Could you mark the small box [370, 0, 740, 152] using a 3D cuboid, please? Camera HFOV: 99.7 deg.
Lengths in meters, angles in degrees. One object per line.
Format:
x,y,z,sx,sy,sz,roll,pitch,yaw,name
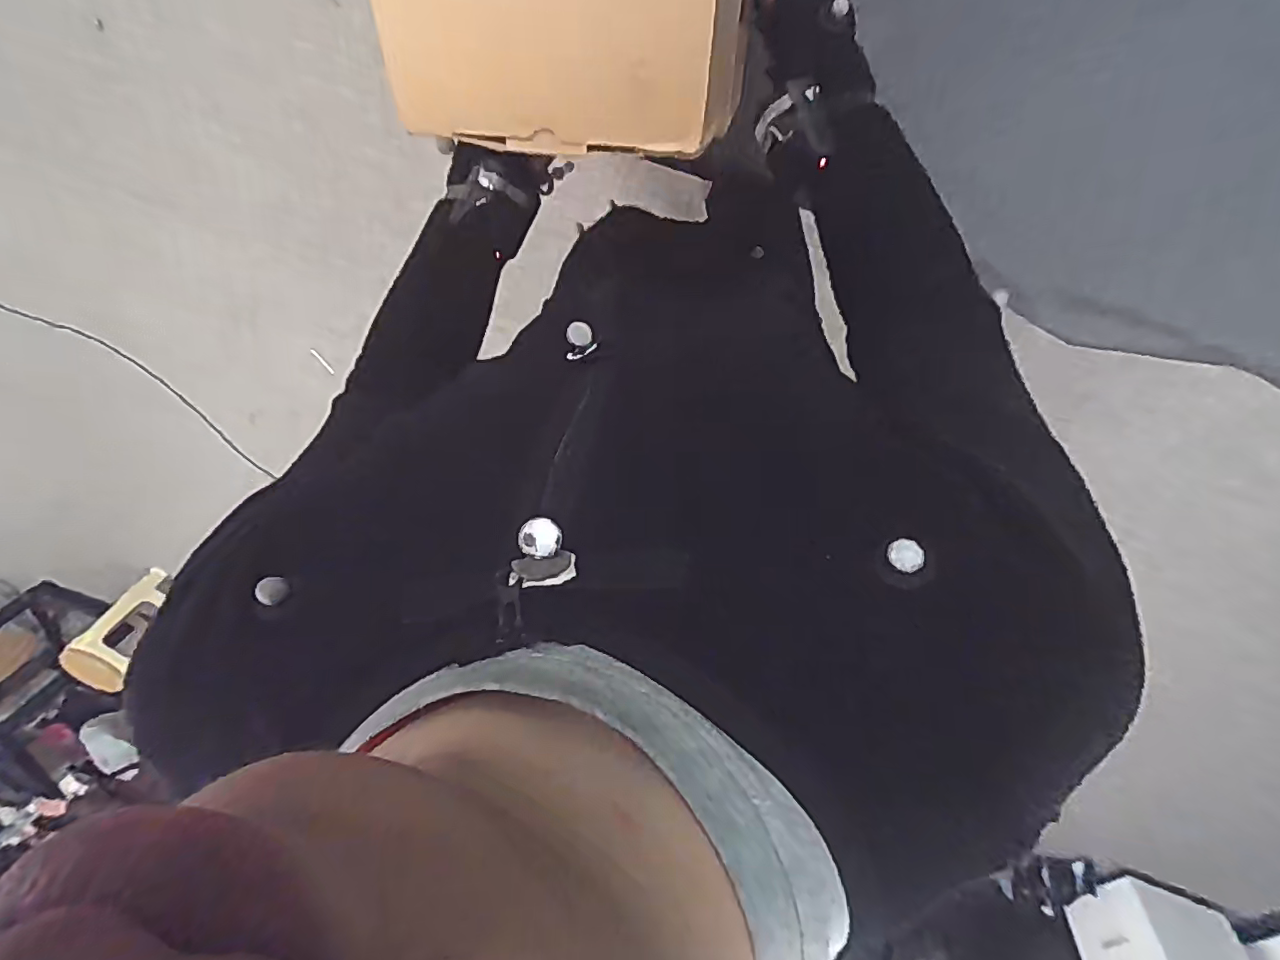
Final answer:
-0.030,-0.292,0.281,0.168,0.176,0.179,8,131,7,small box
